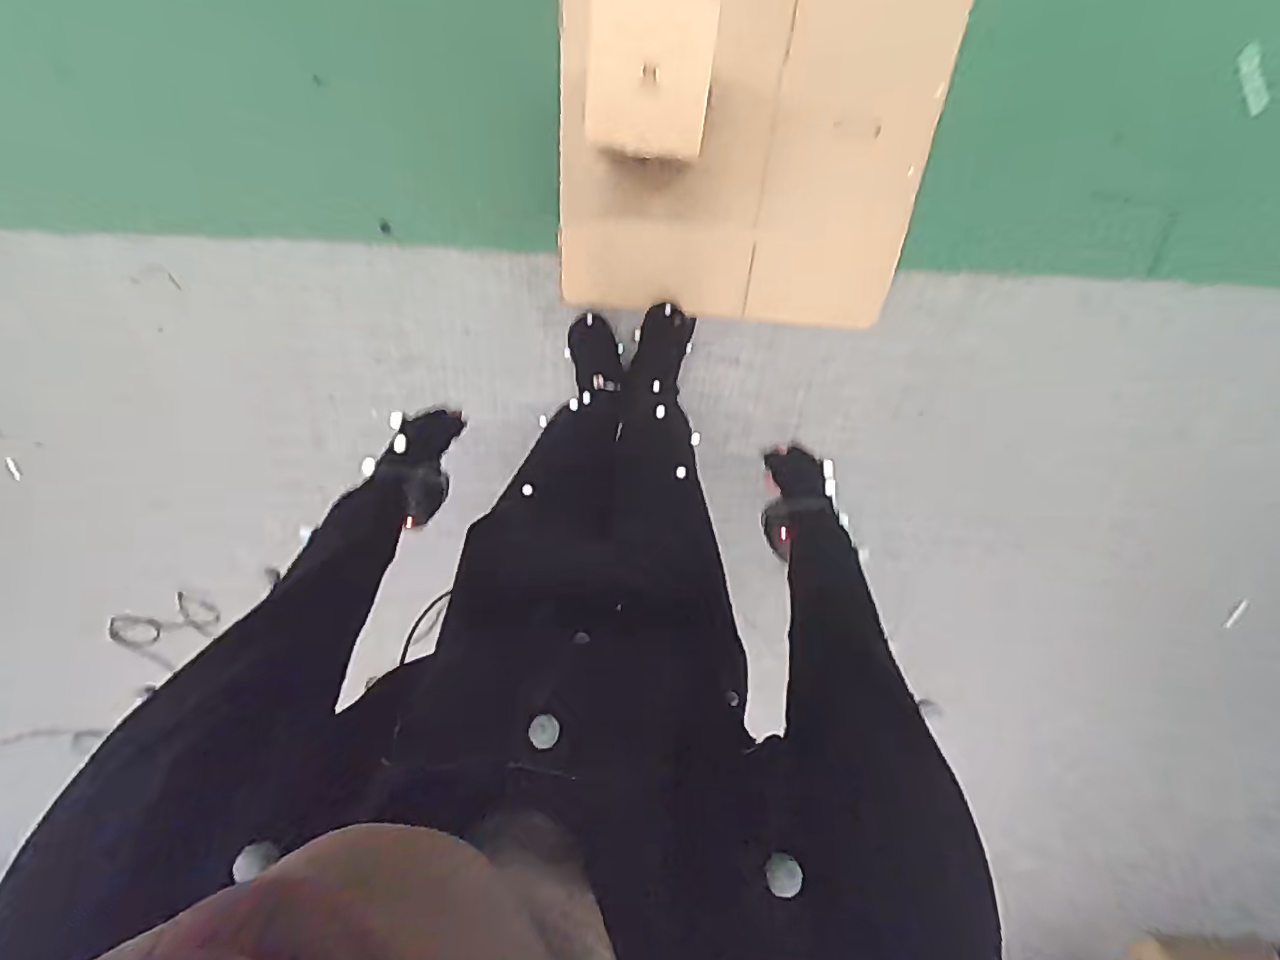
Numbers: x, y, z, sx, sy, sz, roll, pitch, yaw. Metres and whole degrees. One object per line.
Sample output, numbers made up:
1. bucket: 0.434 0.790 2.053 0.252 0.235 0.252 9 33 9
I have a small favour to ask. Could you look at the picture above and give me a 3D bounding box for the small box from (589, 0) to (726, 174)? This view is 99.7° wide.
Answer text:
1. small box: 0.021 -0.563 0.796 0.168 0.176 0.179 7 119 -1
